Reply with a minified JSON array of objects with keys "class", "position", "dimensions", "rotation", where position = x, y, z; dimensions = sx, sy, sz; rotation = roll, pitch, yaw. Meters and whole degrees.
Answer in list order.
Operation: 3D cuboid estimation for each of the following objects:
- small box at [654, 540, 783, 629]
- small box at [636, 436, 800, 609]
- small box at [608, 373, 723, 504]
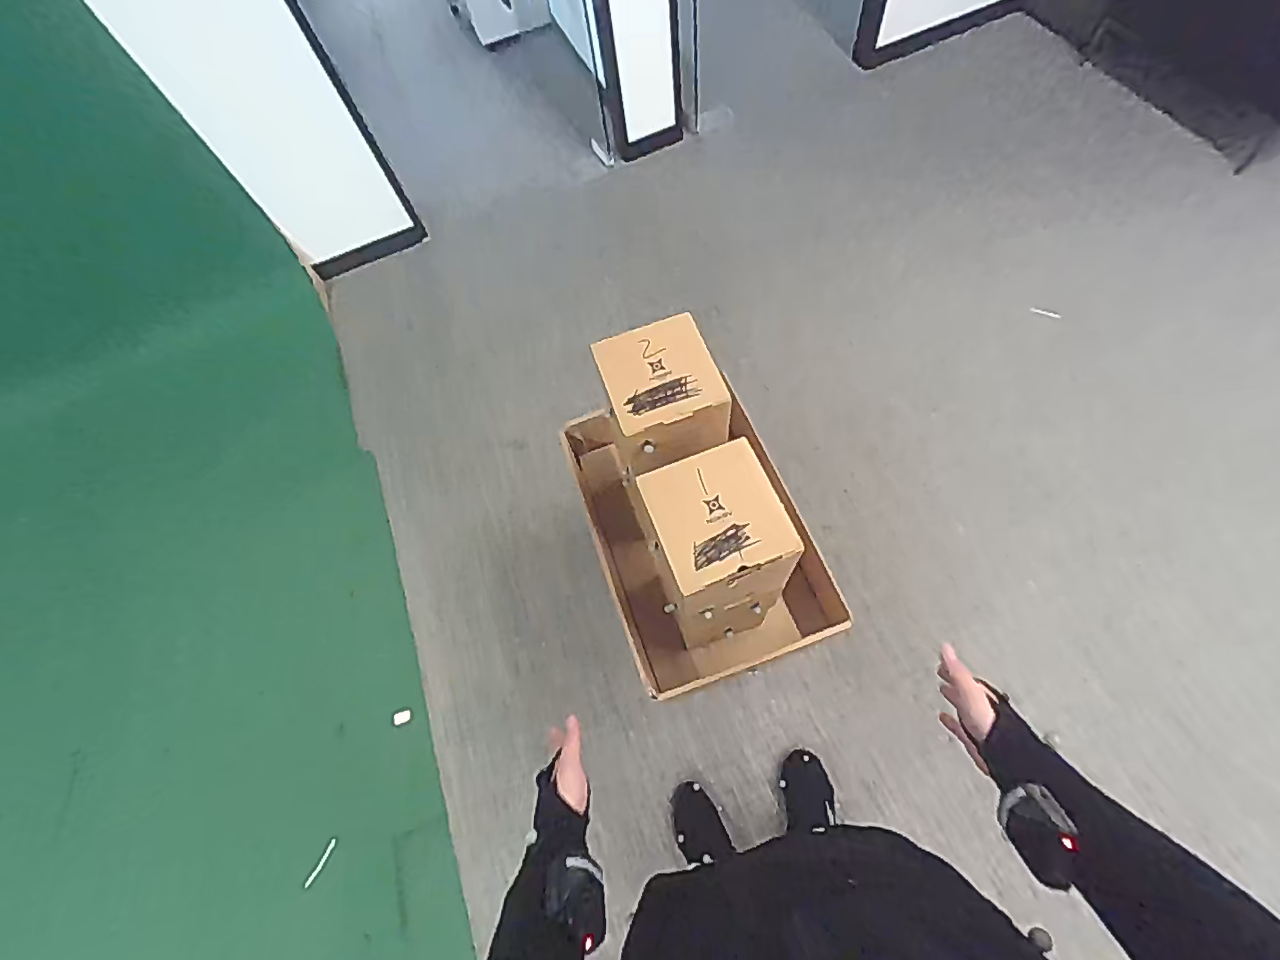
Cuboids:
[{"class":"small box","position":[0.125,0.142,0.919],"dimensions":[0.168,0.176,0.179],"rotation":[-19,64,-3]},{"class":"small box","position":[0.106,0.072,0.772],"dimensions":[0.168,0.176,0.179],"rotation":[-20,64,-4]},{"class":"small box","position":[0.049,-0.068,1.030],"dimensions":[0.168,0.176,0.179],"rotation":[-20,67,-3]}]
